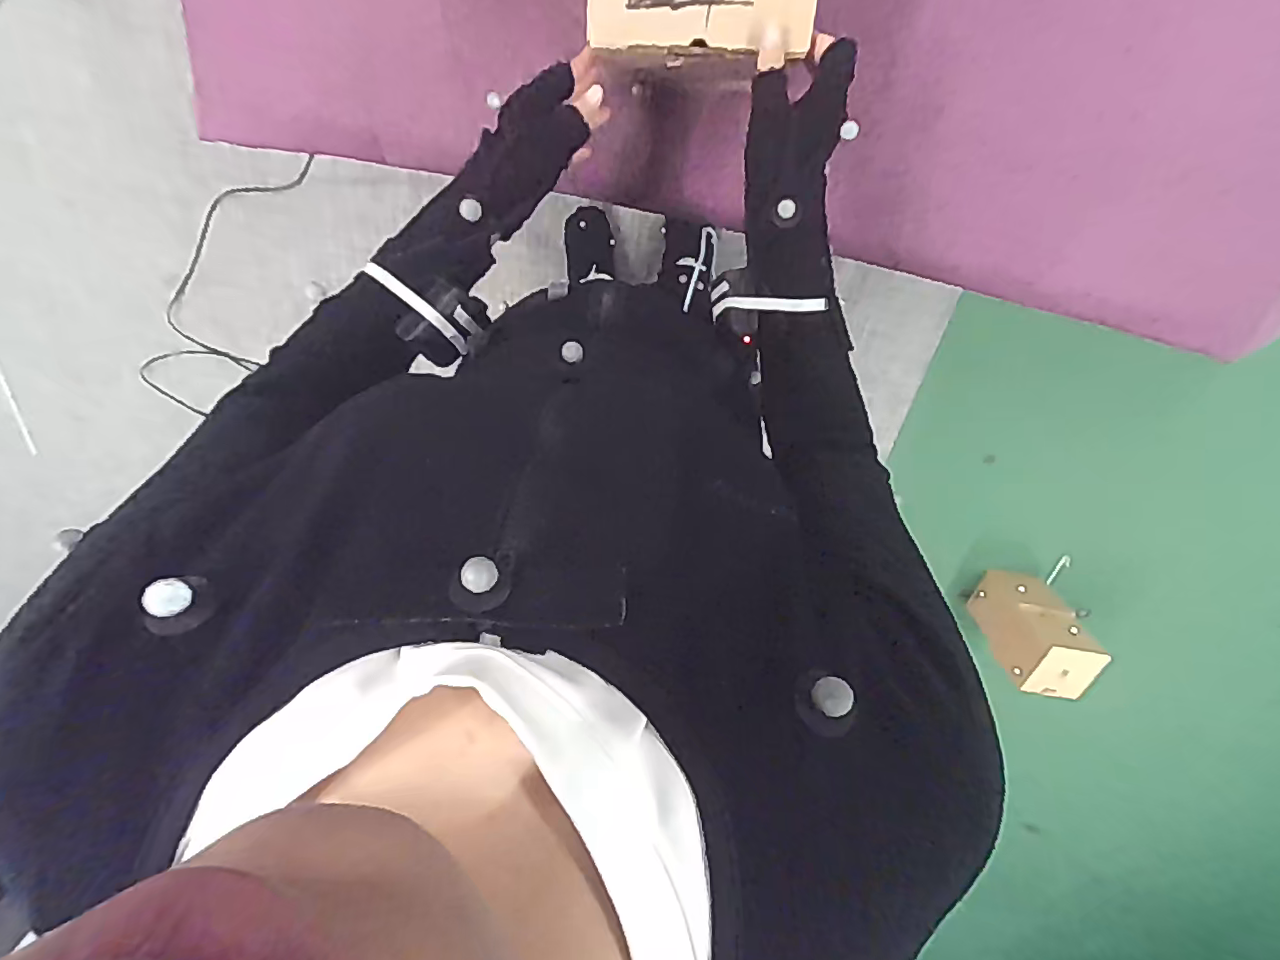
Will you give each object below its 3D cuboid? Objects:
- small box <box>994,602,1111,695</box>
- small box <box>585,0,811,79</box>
[{"bbox_3d":[1.148,0.470,1.526,0.168,0.176,0.179,10,120,-2],"label":"small box"},{"bbox_3d":[0.051,-0.439,0.428,0.168,0.176,0.179,4,119,1],"label":"small box"}]
